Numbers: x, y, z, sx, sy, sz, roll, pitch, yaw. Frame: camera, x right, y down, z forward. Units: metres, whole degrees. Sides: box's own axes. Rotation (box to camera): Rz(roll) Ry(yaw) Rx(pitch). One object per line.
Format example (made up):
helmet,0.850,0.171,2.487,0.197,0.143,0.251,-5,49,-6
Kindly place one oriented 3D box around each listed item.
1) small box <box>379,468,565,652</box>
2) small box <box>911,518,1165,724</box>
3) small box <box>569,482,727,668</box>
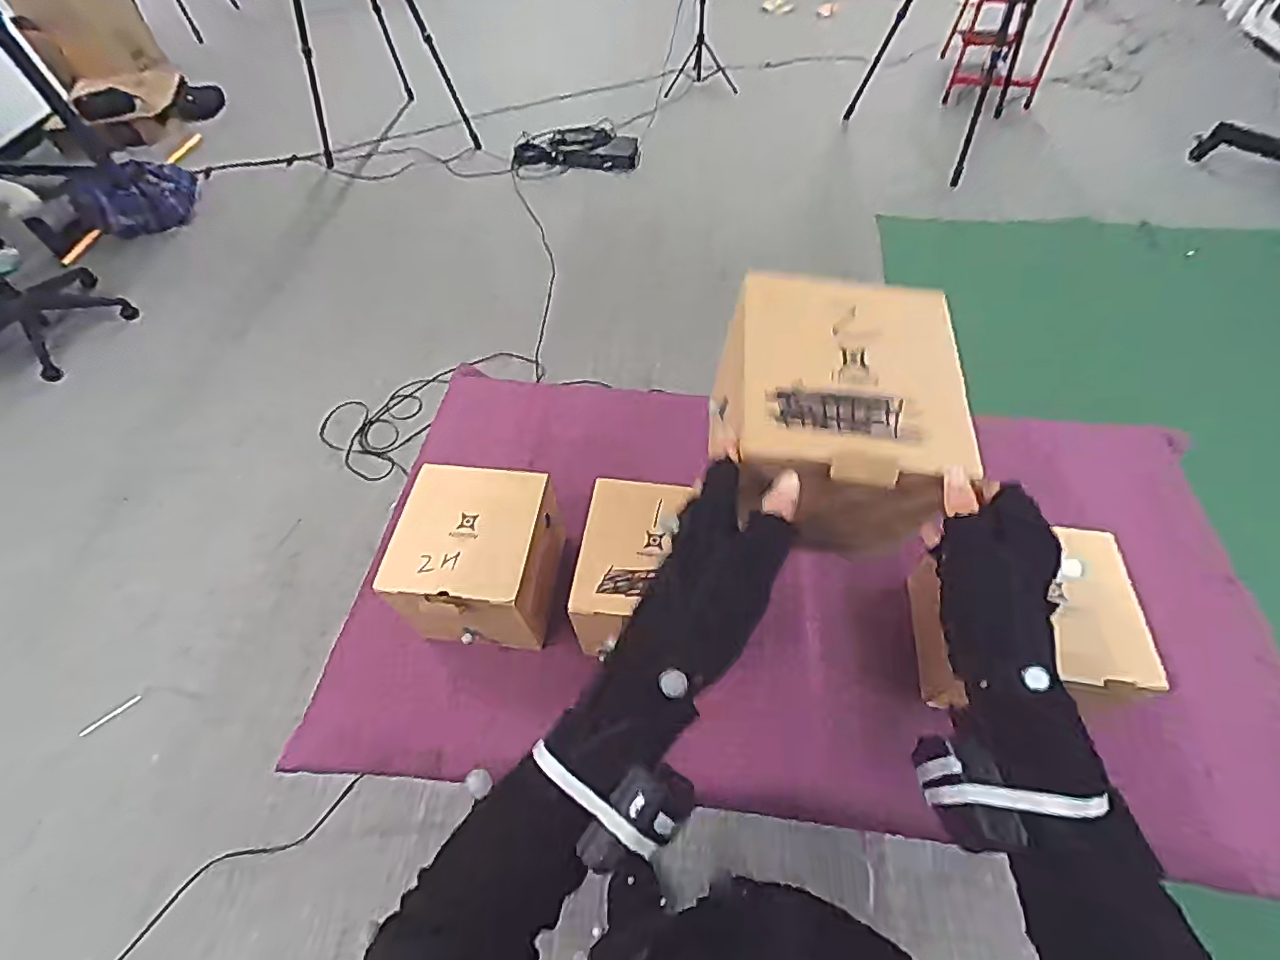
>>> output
small box,-0.201,0.107,0.710,0.168,0.176,0.179,4,56,6
small box,0.442,0.169,0.642,0.168,0.176,0.179,6,56,7
small box,0.018,0.126,0.690,0.168,0.176,0.179,6,55,6
